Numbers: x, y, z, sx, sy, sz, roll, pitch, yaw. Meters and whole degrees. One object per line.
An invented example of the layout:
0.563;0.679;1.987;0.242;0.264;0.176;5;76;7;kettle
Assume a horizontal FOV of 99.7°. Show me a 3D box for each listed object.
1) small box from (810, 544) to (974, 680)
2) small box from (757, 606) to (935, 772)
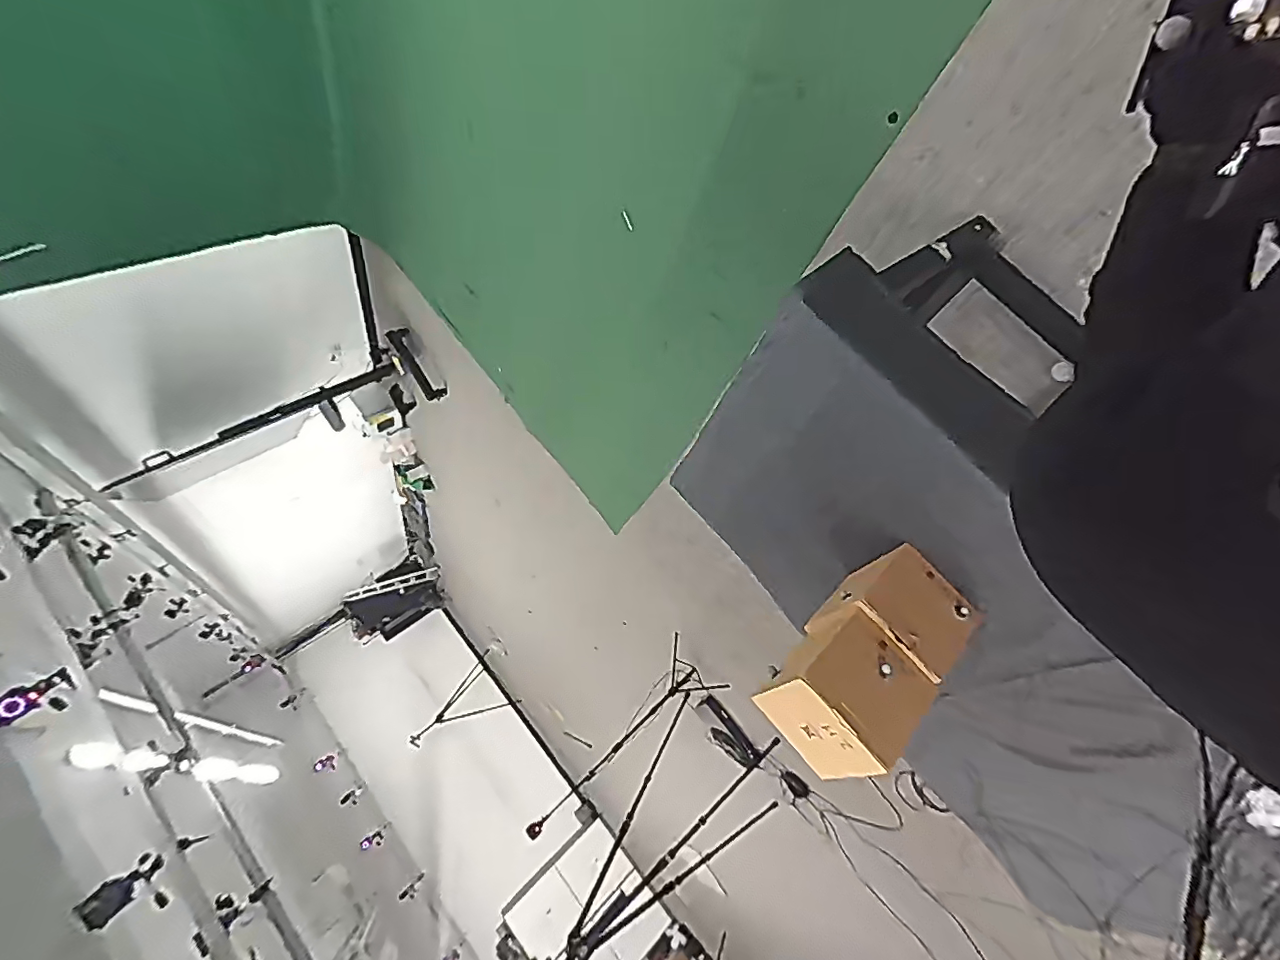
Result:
0.441;0.239;0.941;0.168;0.176;0.179;49;150;13;small box
0.328;0.334;0.866;0.168;0.176;0.179;47;147;14;small box
